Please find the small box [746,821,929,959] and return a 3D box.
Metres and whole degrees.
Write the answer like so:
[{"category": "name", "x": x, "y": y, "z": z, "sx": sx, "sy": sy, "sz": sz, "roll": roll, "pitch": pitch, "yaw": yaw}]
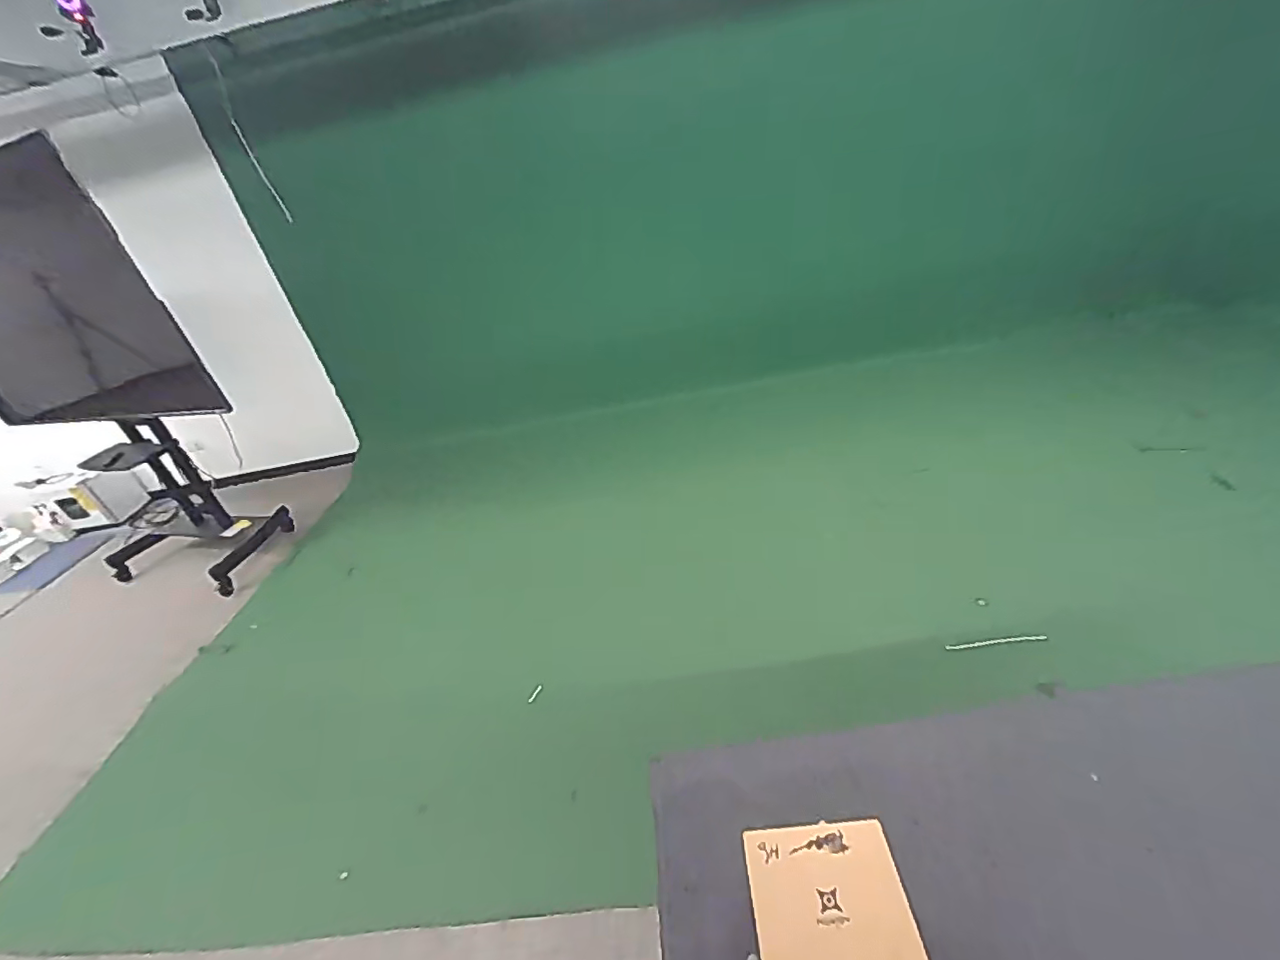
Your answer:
[{"category": "small box", "x": 0.223, "y": 0.531, "z": 0.622, "sx": 0.168, "sy": 0.176, "sz": 0.179, "roll": -8, "pitch": 31, "yaw": 6}]
